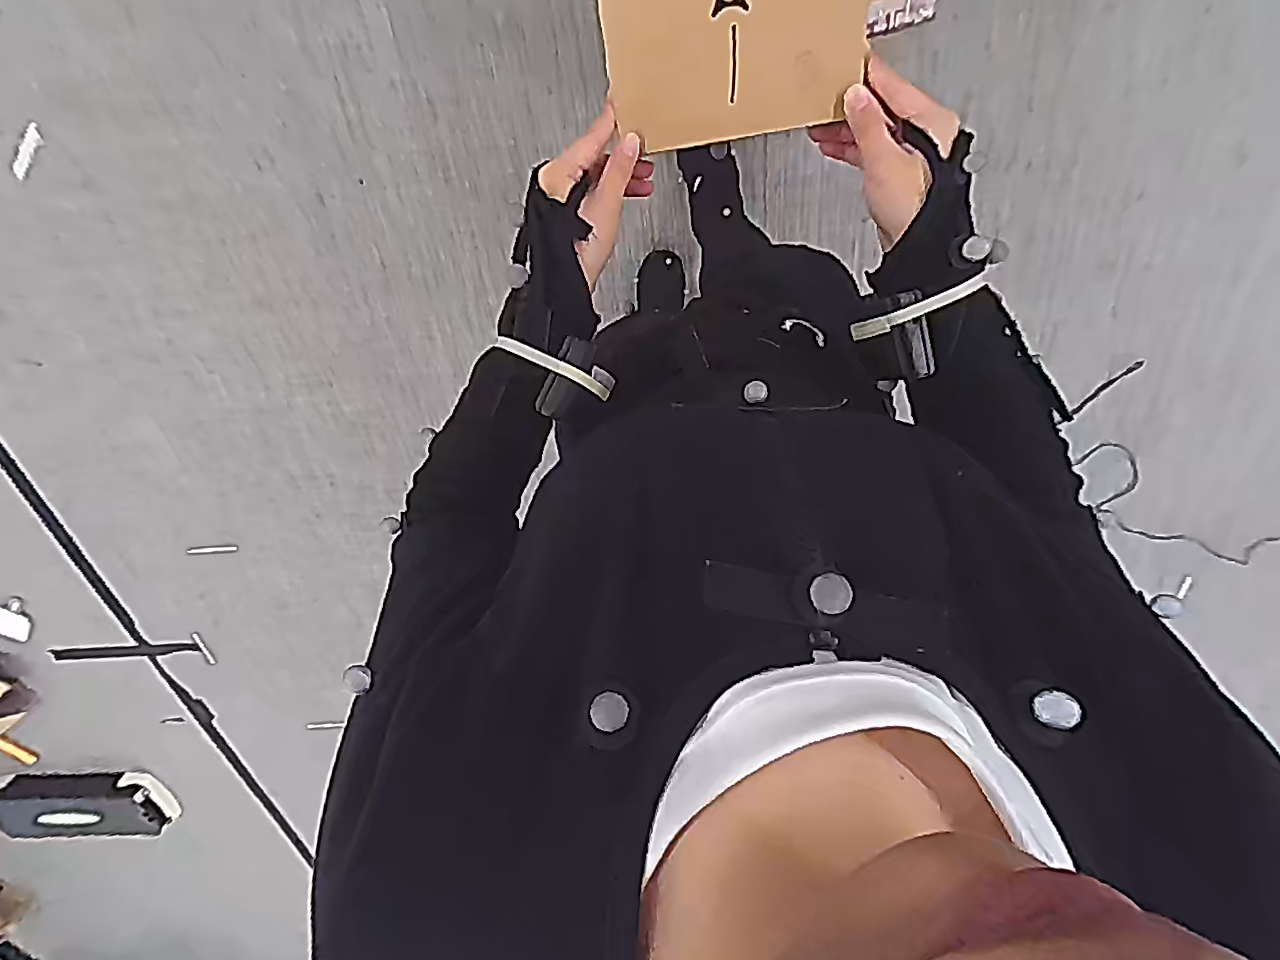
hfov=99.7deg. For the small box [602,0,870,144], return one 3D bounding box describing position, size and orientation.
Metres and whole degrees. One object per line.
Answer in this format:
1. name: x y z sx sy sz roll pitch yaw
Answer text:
1. small box: 0.059 -0.356 0.388 0.168 0.176 0.179 -6 124 8
